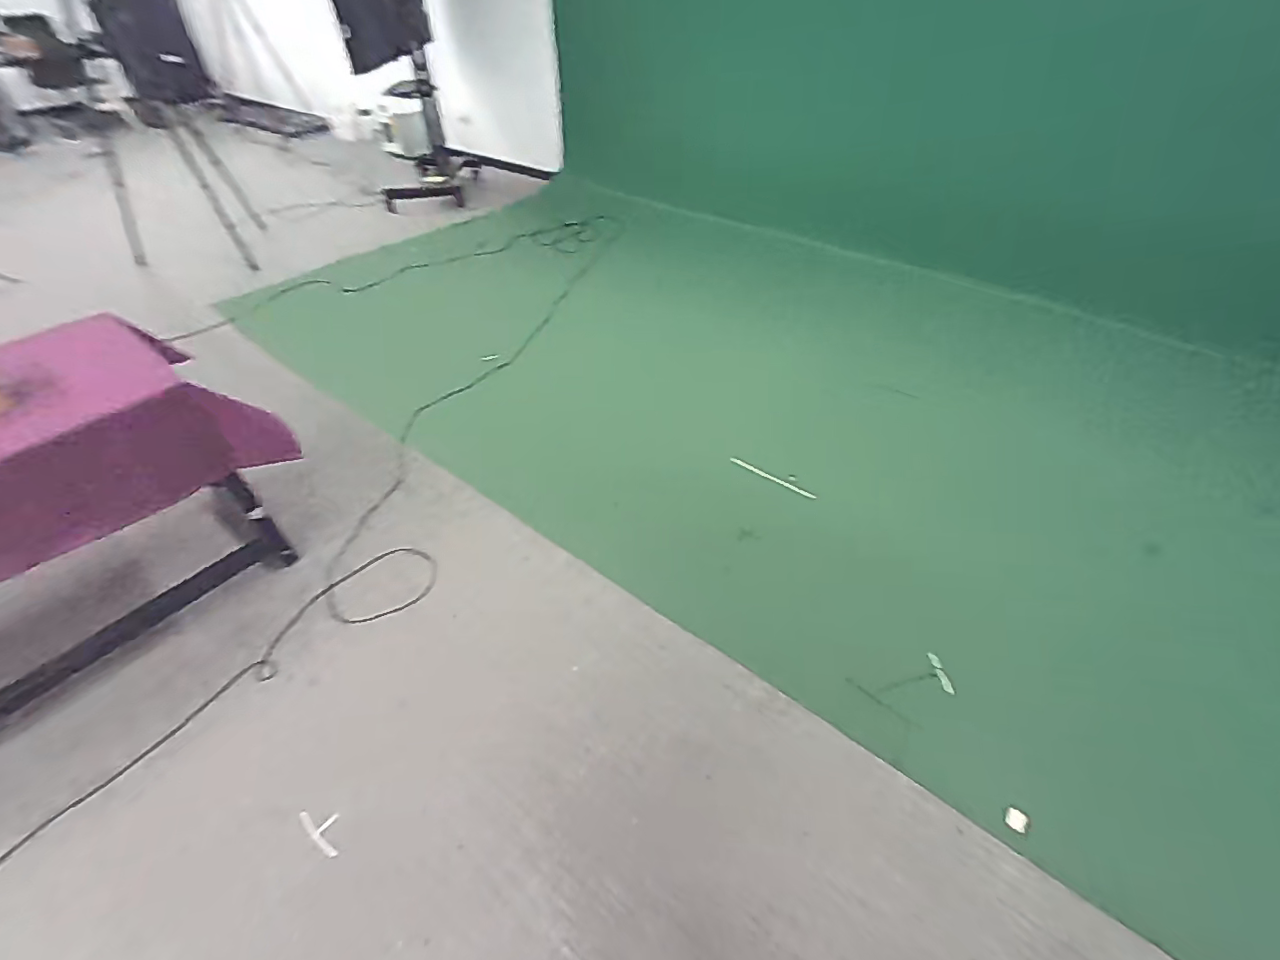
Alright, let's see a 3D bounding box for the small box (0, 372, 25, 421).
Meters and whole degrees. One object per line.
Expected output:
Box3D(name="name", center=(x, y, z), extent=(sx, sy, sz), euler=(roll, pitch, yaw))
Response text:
Box3D(name="small box", center=(-1.599, -0.215, 1.241), extent=(0.168, 0.176, 0.179), euler=(32, 52, 28))
